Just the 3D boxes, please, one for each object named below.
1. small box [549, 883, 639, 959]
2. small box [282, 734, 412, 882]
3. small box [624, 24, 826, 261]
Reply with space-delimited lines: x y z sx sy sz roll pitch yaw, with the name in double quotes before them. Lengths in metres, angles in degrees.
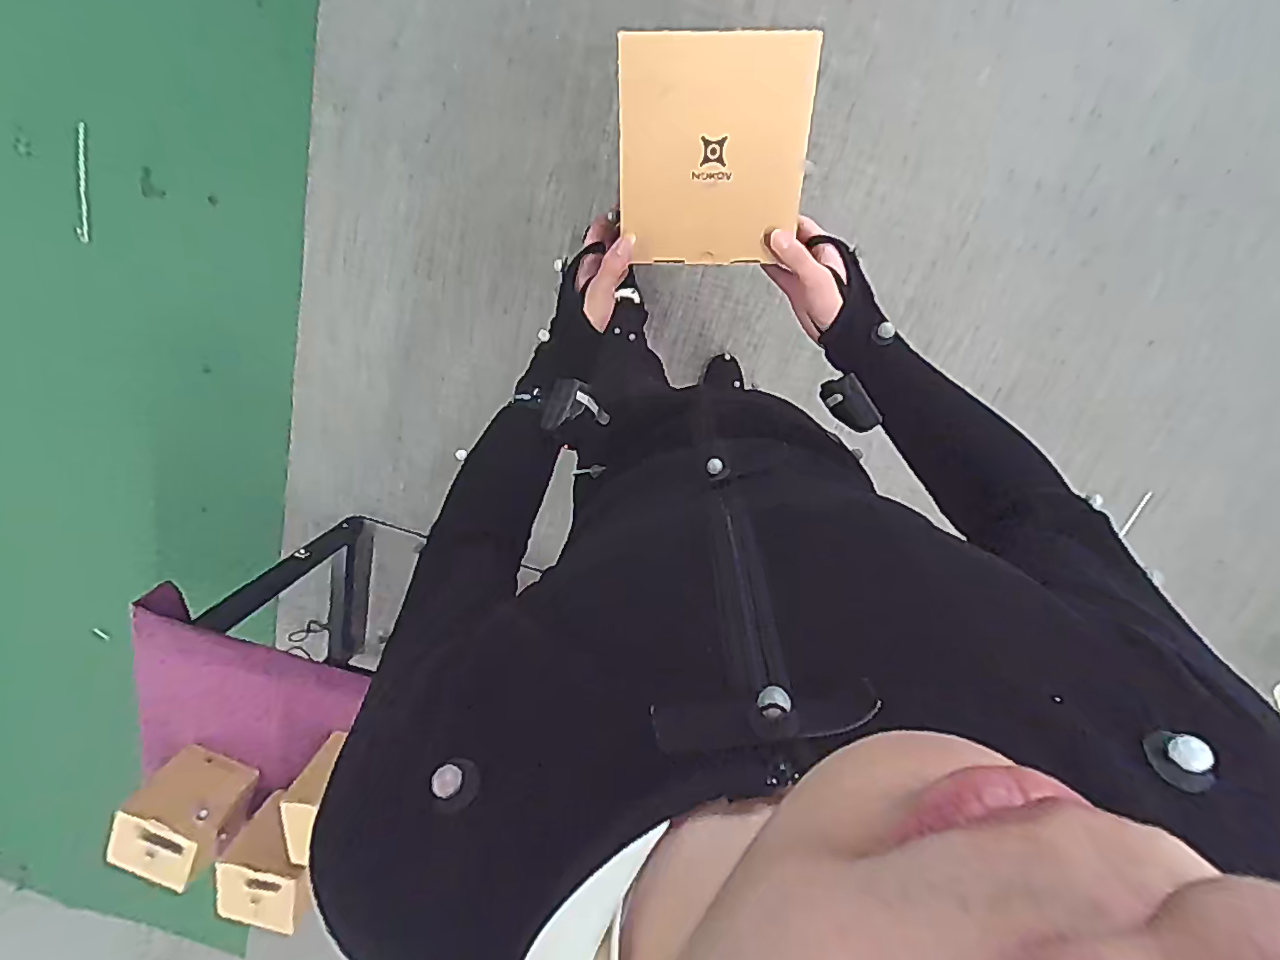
"small box" -0.094 1.008 1.157 0.179 0.176 0.168 3 108 5
"small box" -0.573 0.650 1.083 0.168 0.176 0.179 8 110 2
"small box" 0.067 -0.325 0.541 0.168 0.176 0.179 0 120 0
